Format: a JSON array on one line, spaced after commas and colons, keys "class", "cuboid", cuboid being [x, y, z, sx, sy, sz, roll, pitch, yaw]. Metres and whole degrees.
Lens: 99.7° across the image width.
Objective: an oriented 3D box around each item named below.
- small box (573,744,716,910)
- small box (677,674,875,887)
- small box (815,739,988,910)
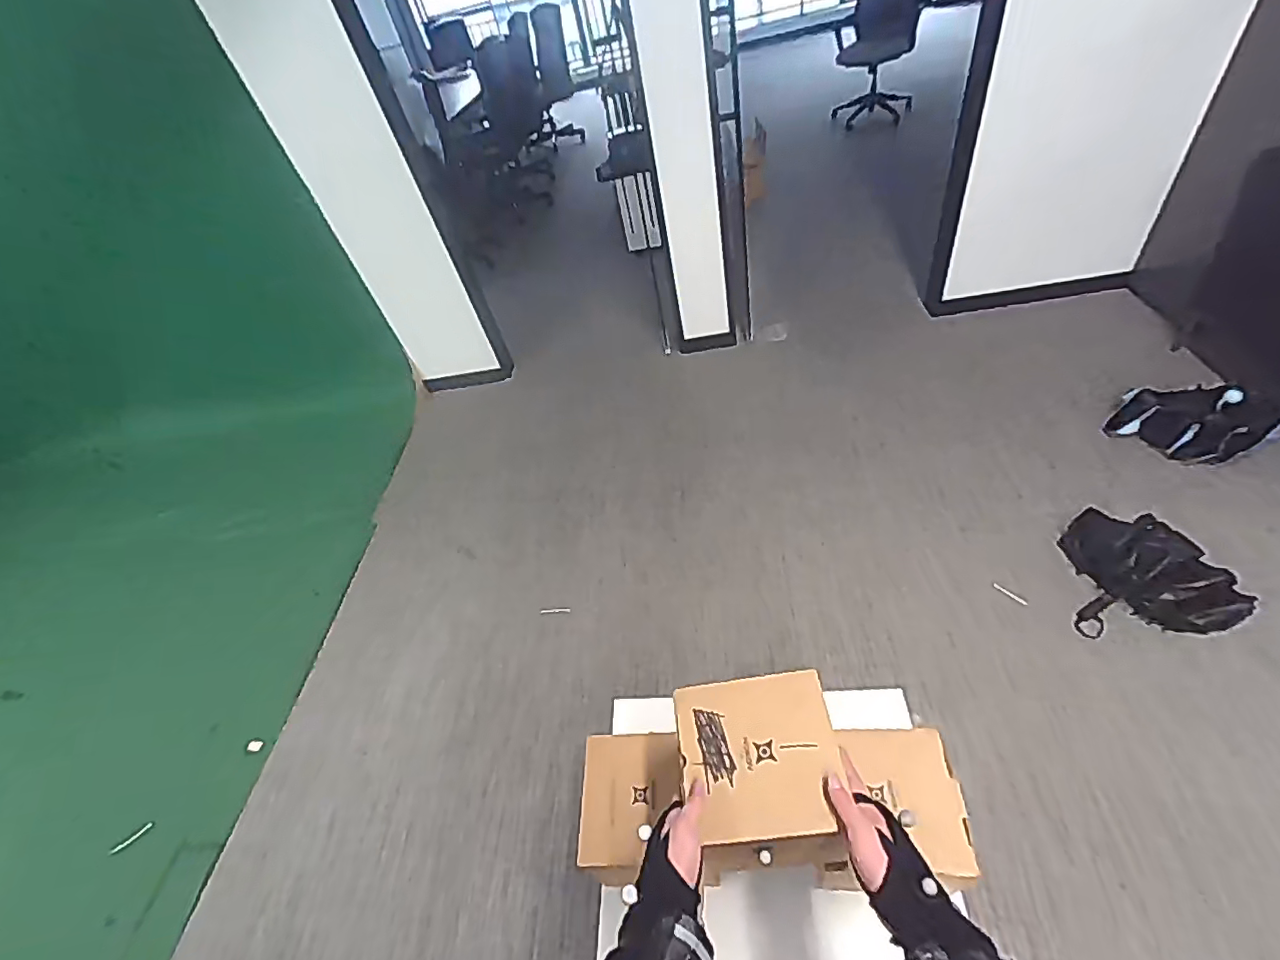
[{"class": "small box", "cuboid": [0.014, 0.492, 0.767, 0.179, 0.176, 0.168, -7, 43, 6]}, {"class": "small box", "cuboid": [0.149, 0.351, 0.627, 0.179, 0.176, 0.168, -10, 44, 4]}, {"class": "small box", "cuboid": [0.324, 0.464, 0.729, 0.179, 0.176, 0.168, -5, 45, 9]}]
